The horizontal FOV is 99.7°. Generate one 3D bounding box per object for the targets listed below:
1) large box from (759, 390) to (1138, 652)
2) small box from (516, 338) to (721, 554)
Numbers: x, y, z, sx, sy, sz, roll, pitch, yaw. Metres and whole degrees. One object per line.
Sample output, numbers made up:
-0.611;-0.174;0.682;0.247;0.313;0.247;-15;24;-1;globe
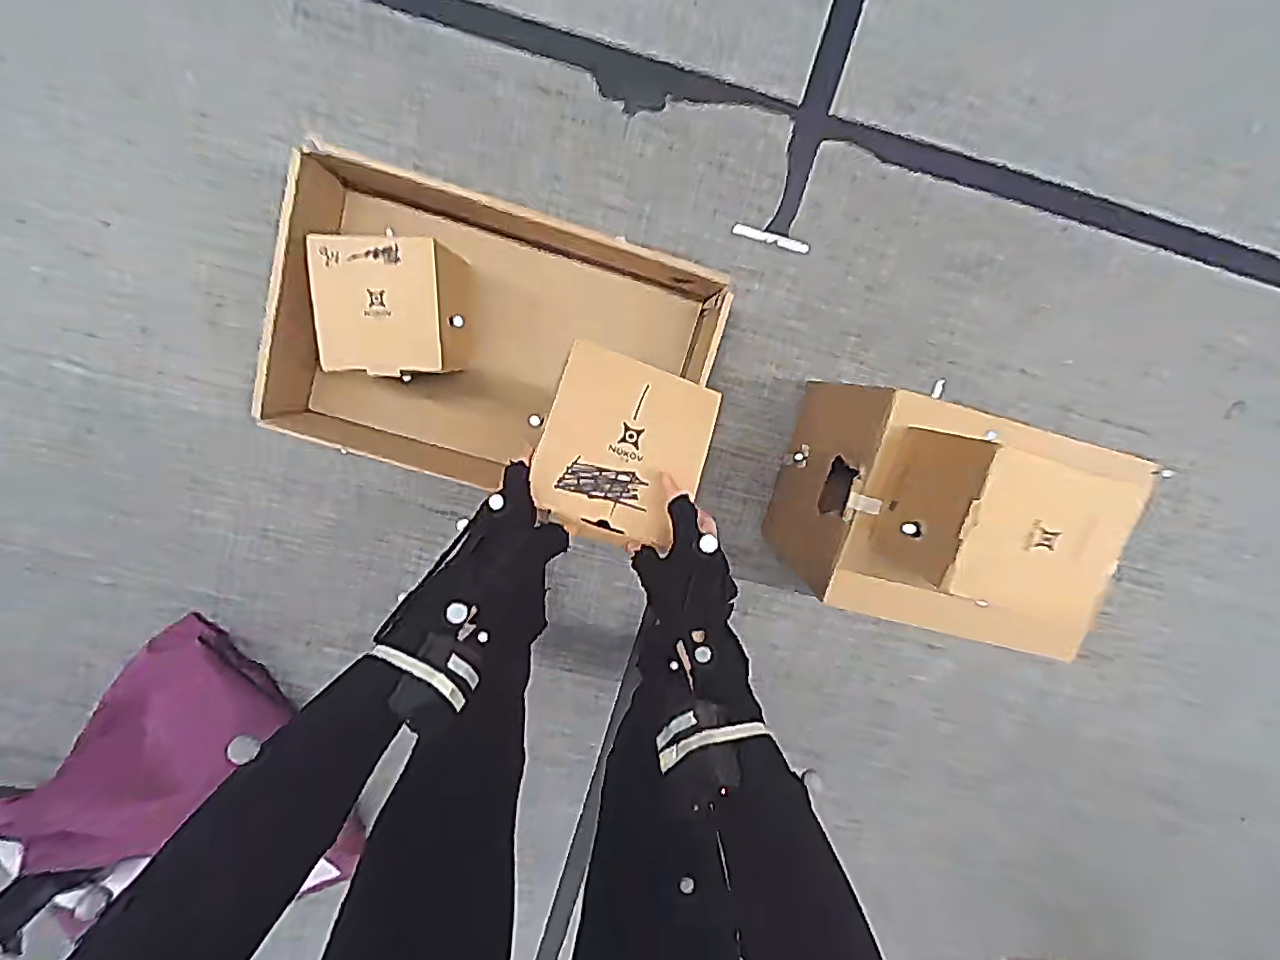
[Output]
0.465;0.044;0.909;0.408;0.320;0.320;14;101;-7;large box
-0.034;-0.023;0.609;0.168;0.176;0.179;20;76;-12;small box
